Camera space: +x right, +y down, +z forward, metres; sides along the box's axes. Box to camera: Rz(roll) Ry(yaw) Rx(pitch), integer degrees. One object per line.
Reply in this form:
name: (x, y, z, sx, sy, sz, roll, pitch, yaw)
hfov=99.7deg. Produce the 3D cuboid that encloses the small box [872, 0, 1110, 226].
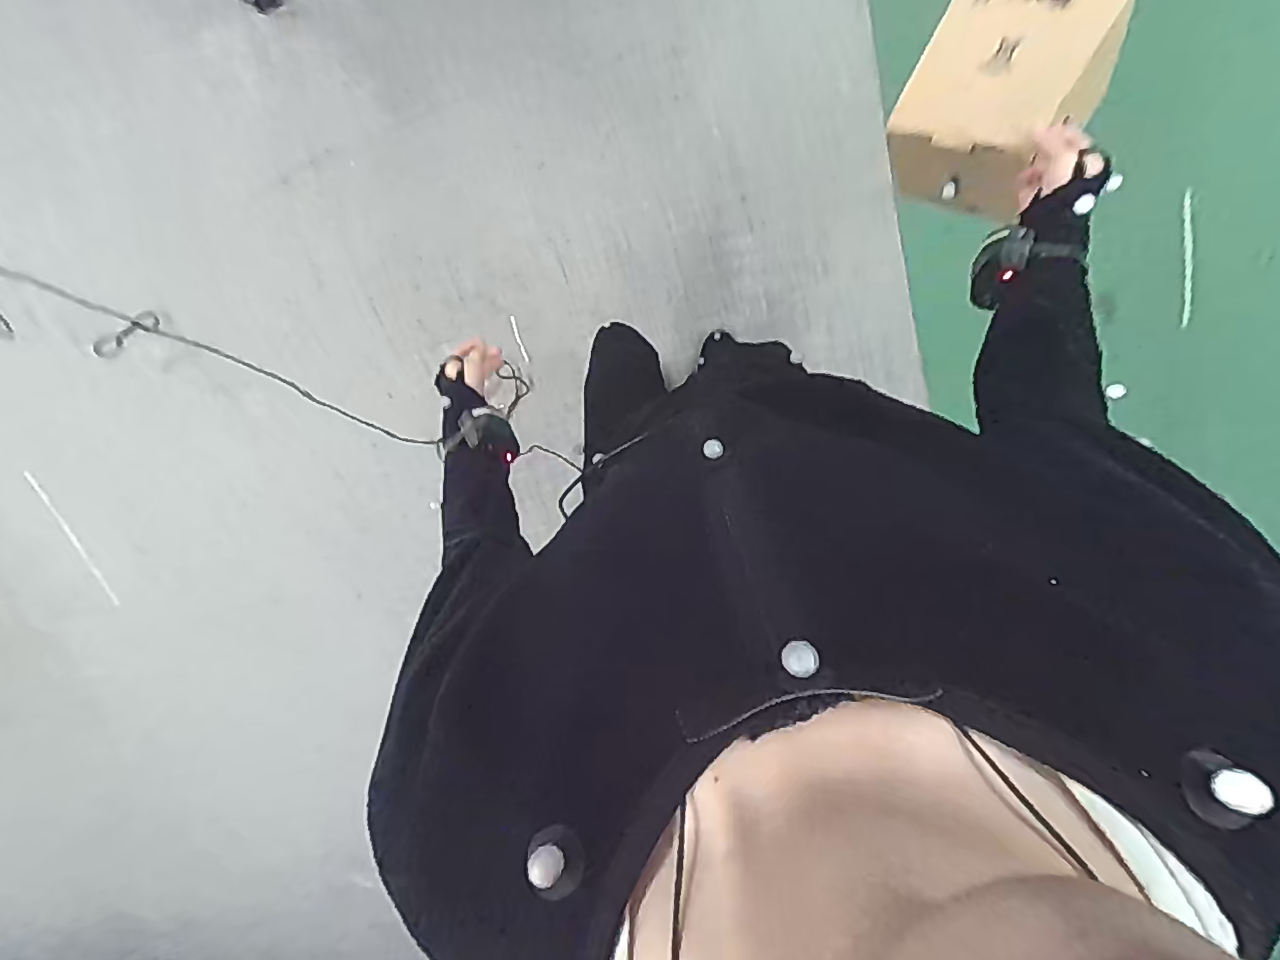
small box: (0.415, -0.440, 0.654, 0.168, 0.176, 0.179, 34, 104, 30)
